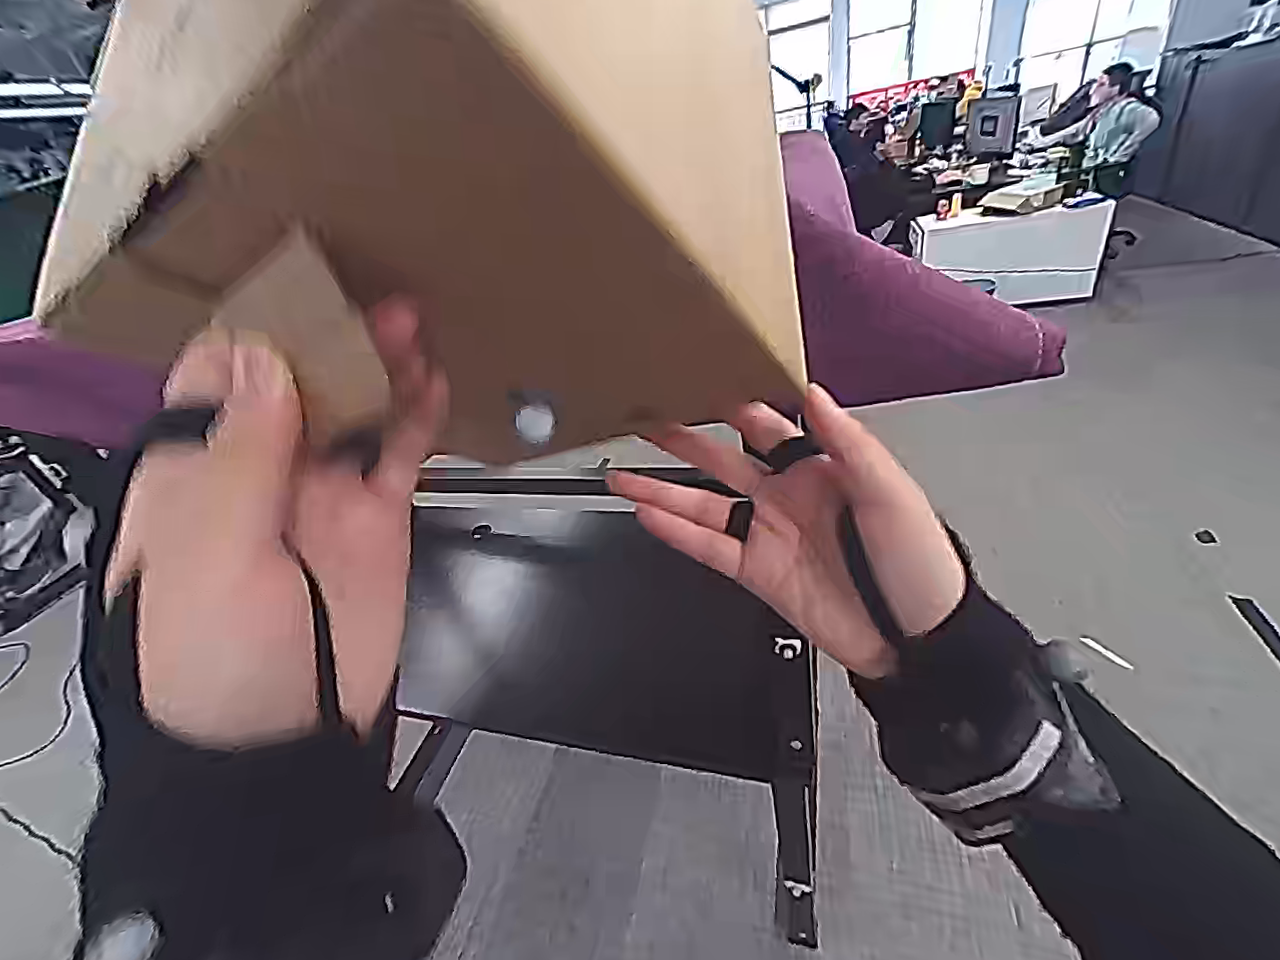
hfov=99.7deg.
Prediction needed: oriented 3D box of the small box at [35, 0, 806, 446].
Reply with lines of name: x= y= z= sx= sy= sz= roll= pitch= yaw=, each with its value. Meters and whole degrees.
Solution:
small box: x=-0.051 y=-0.129 z=0.194 sx=0.168 sy=0.176 sz=0.179 roll=-12 pitch=70 yaw=31
